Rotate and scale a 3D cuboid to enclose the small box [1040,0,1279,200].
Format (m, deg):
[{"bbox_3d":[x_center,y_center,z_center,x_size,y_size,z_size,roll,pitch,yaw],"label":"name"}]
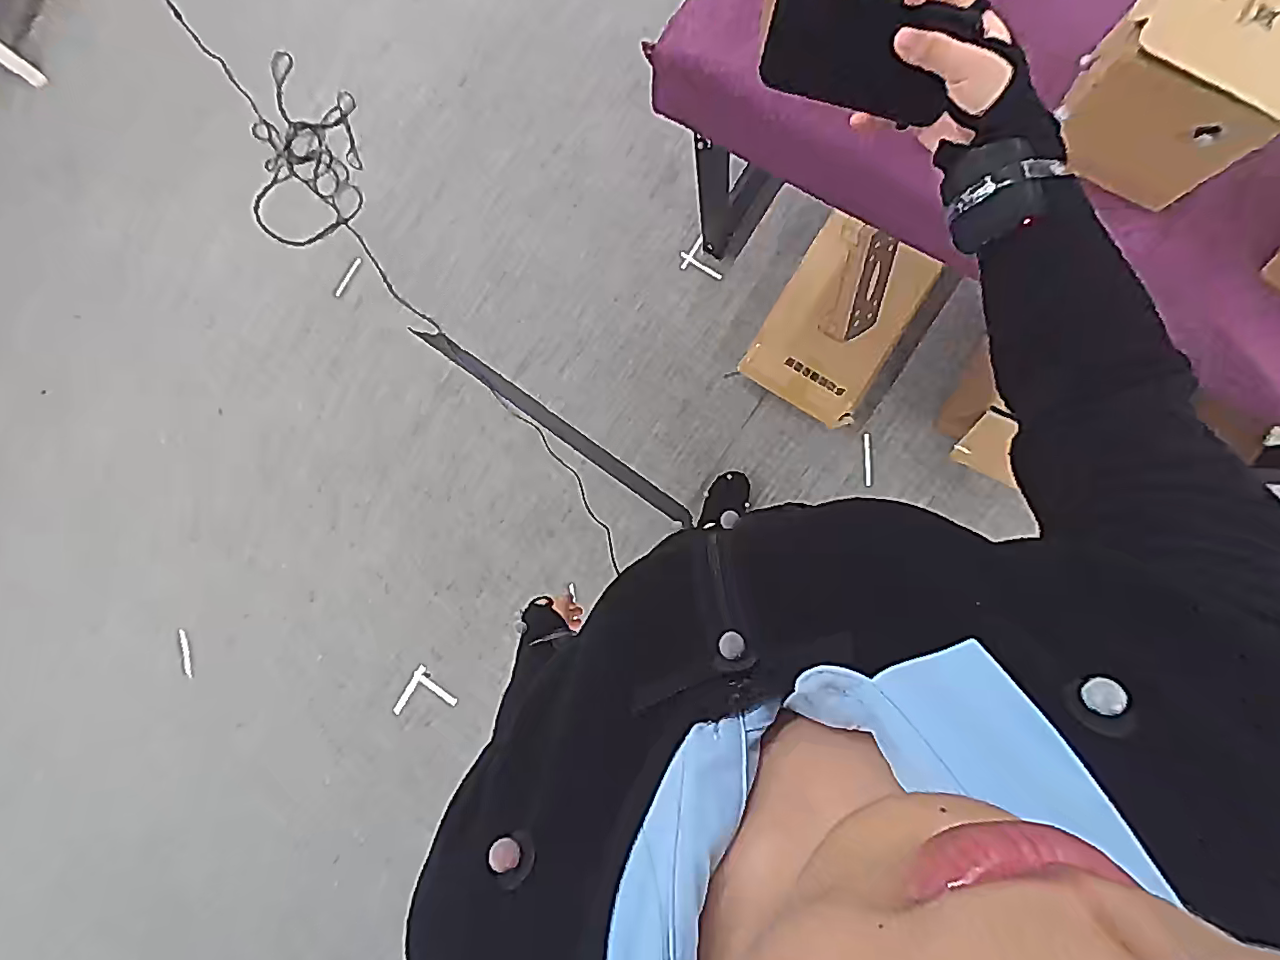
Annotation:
[{"bbox_3d":[0.619,-0.456,0.612,0.179,0.176,0.168,32,92,8],"label":"small box"}]
